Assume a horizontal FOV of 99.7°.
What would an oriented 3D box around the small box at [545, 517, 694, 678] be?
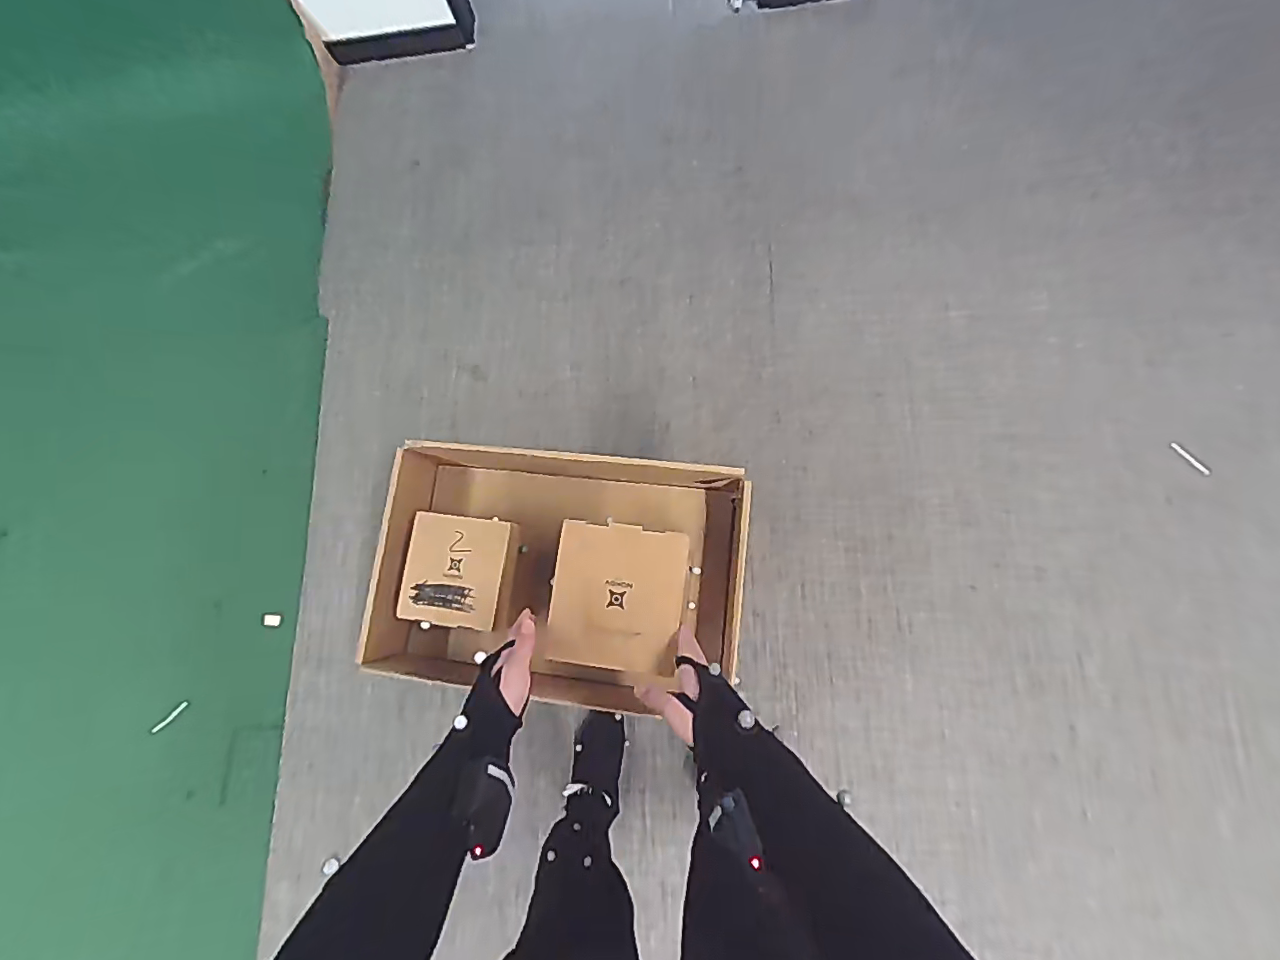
[{"bbox_3d":[-0.017,0.156,0.745,0.168,0.176,0.179,7,81,9],"label":"small box"}]
